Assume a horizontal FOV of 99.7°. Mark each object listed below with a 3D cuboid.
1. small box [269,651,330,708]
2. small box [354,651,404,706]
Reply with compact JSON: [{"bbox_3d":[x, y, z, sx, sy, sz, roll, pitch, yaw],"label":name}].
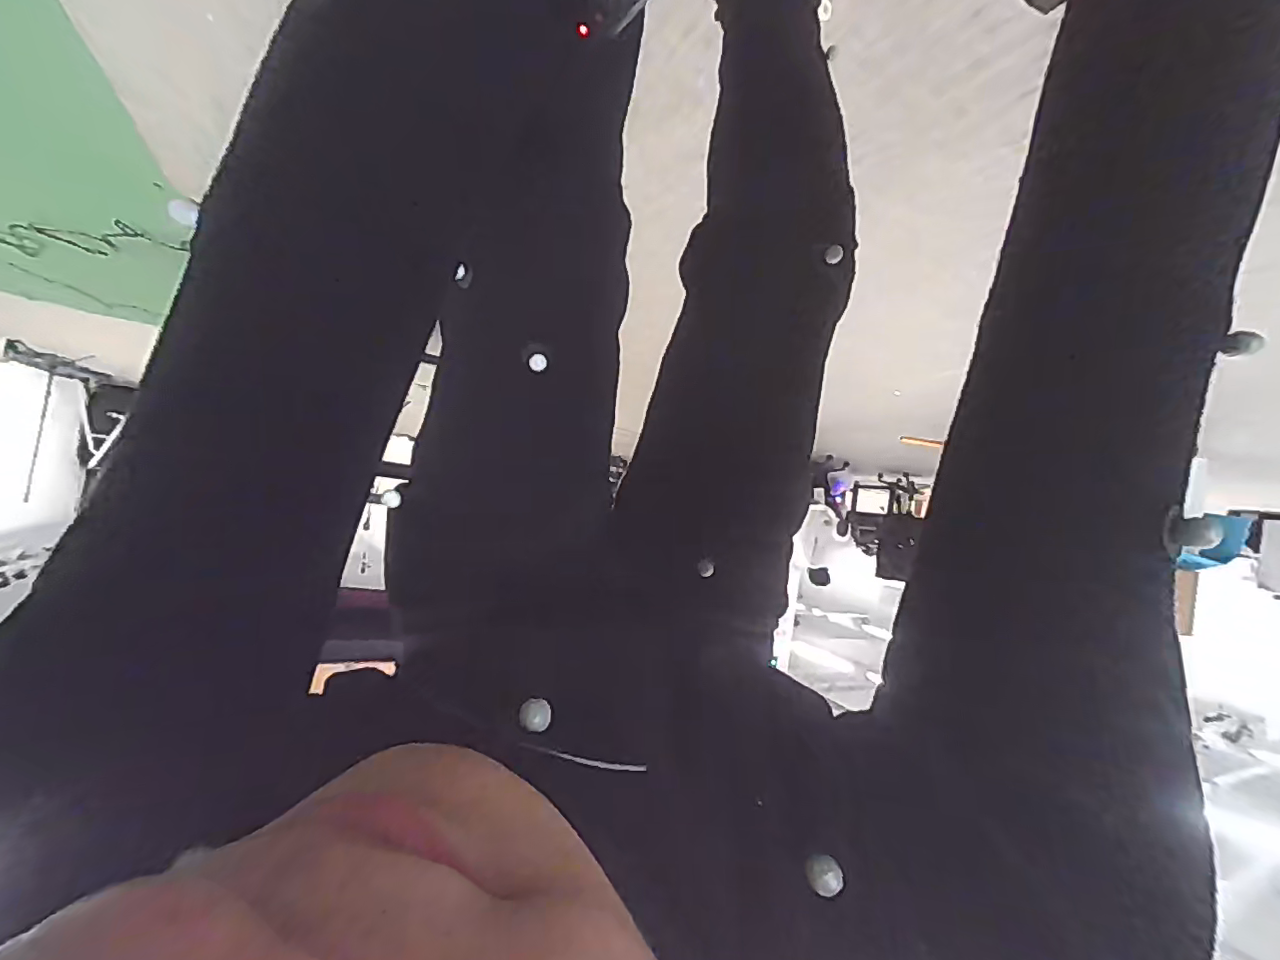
[{"bbox_3d":[-1.340,0.782,2.134,0.179,0.176,0.168,9,178,-29],"label":"small box"},{"bbox_3d":[-1.095,0.827,2.268,0.168,0.176,0.179,10,177,-28],"label":"small box"}]
